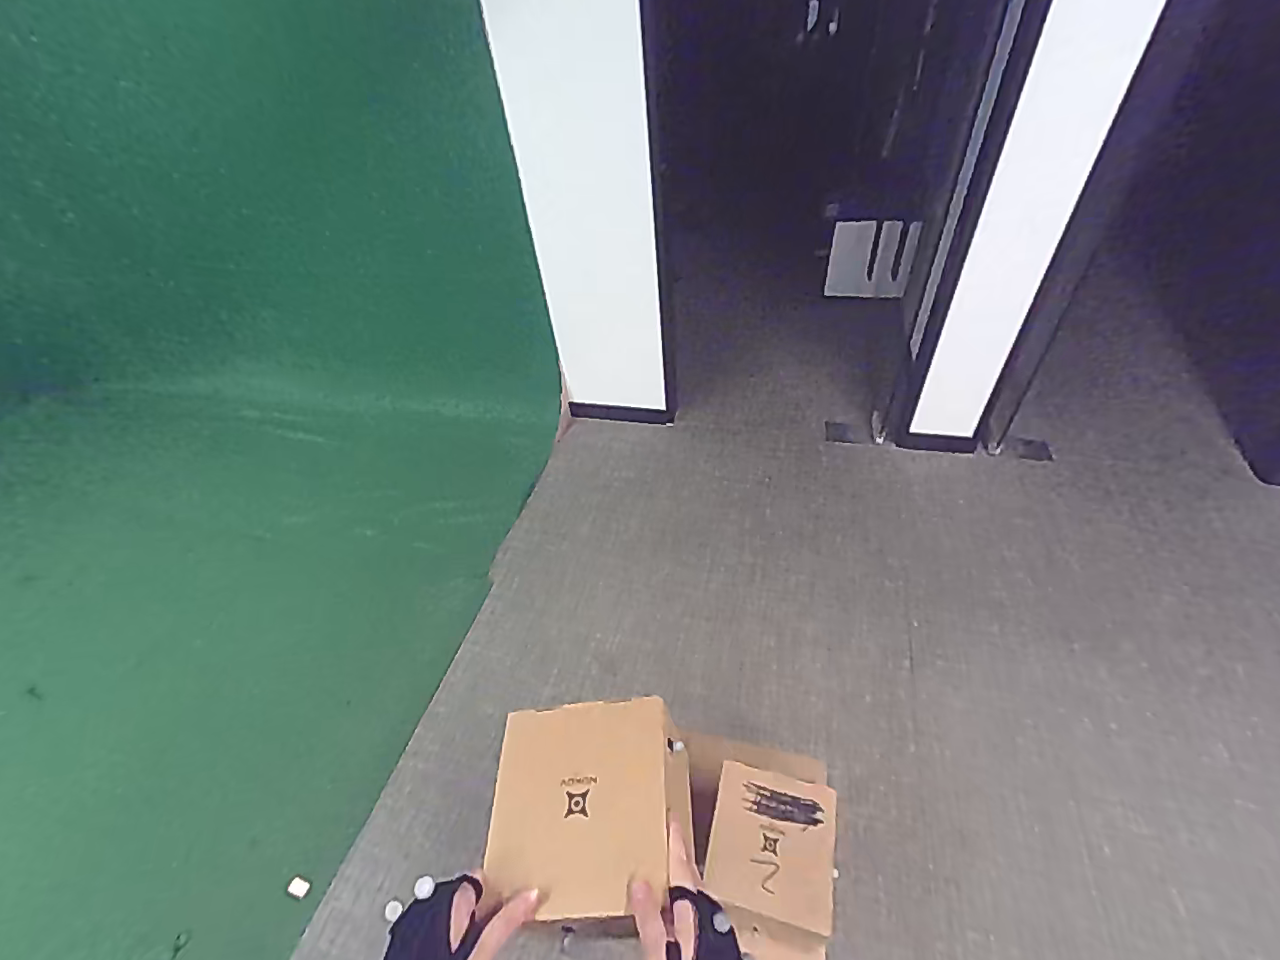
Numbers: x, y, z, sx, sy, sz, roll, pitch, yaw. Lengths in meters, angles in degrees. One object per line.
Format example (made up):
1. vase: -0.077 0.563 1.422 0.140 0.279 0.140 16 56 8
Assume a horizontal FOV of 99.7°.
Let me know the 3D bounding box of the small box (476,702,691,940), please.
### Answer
1. small box: -0.044 0.356 0.559 0.168 0.176 0.179 -9 43 8
